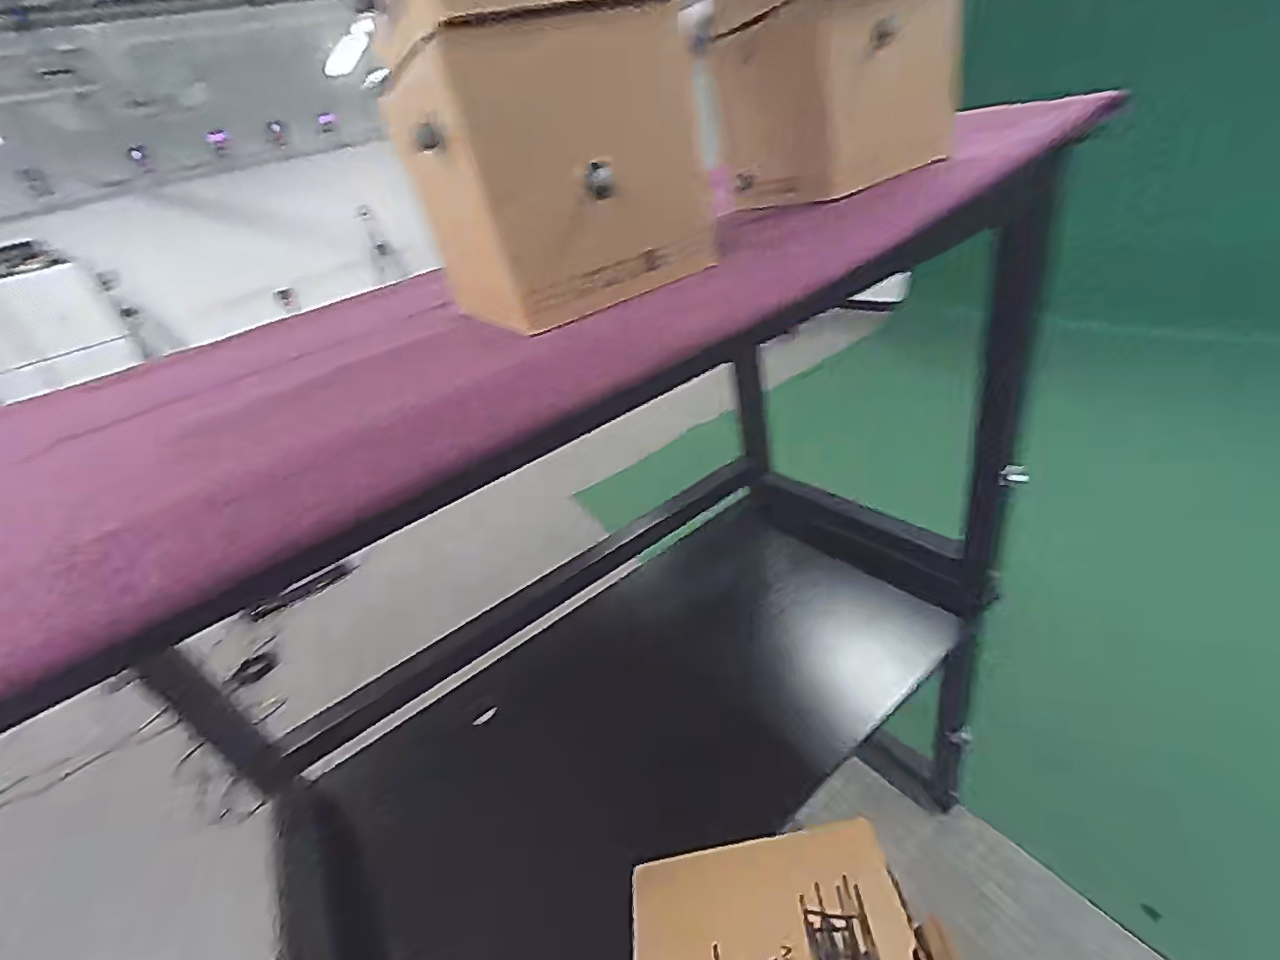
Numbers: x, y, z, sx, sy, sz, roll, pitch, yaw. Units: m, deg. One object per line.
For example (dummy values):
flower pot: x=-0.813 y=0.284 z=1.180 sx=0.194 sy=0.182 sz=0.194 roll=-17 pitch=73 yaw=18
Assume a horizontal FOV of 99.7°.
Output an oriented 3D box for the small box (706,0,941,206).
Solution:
small box: x=0.200 y=-0.403 z=0.580 sx=0.179 sy=0.176 sz=0.168 roll=-27 pitch=32 yaw=-18

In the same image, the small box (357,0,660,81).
small box: x=-0.090 y=-0.360 z=0.326 sx=0.179 sy=0.176 sz=0.168 roll=-30 pitch=34 yaw=-21

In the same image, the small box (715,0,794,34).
small box: x=0.167 y=-0.532 z=0.485 sx=0.179 sy=0.176 sz=0.168 roll=-30 pitch=33 yaw=-22

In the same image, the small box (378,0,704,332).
small box: x=-0.070 y=-0.225 z=0.415 sx=0.168 sy=0.176 sz=0.179 roll=-28 pitch=34 yaw=-22
